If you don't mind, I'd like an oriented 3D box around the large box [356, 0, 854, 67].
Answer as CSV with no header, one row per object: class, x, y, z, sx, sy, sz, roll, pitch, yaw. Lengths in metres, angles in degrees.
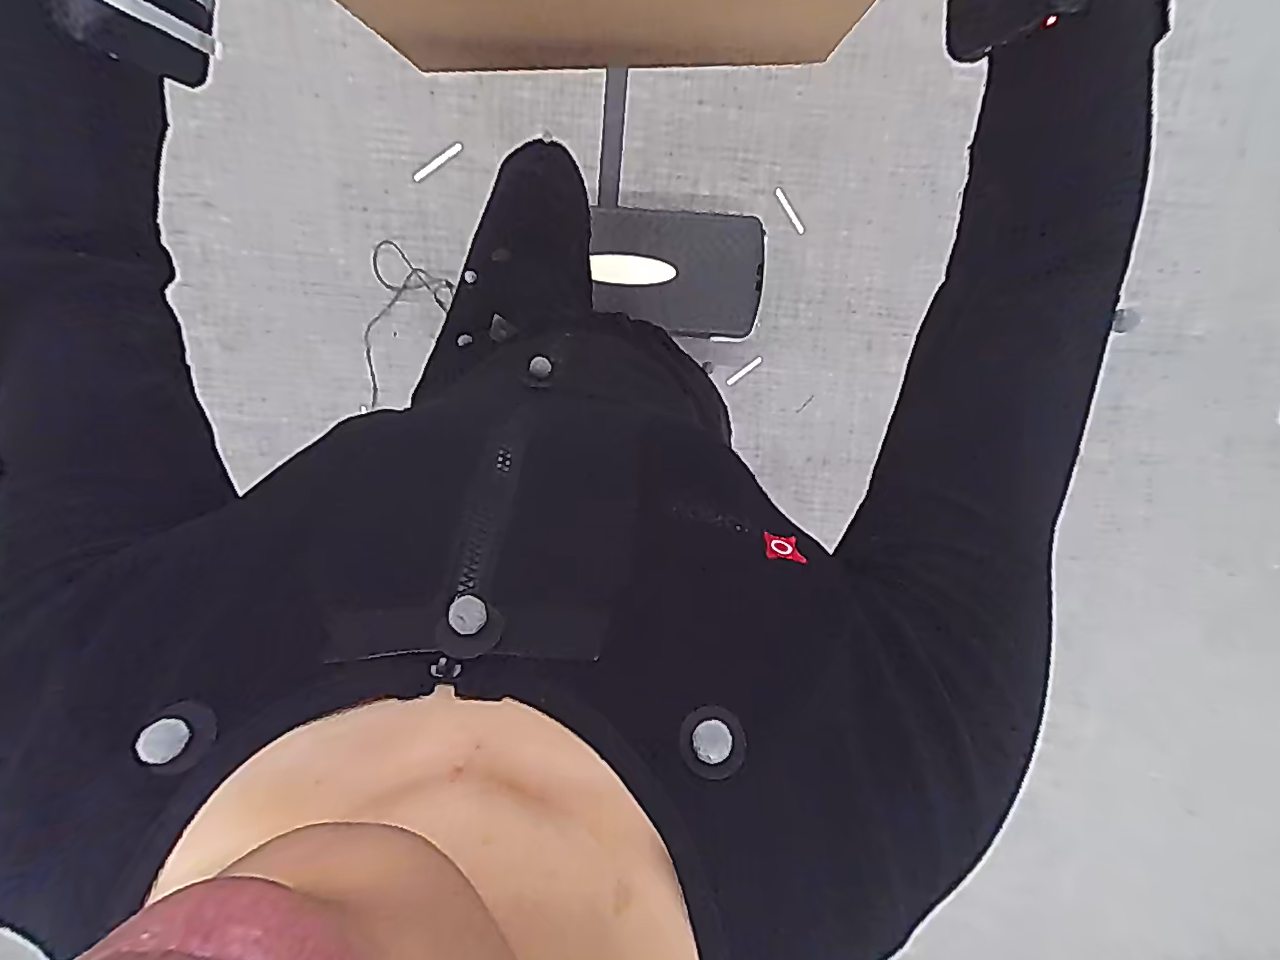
large box,-0.027,-0.504,0.343,0.408,0.320,0.320,0,112,1
